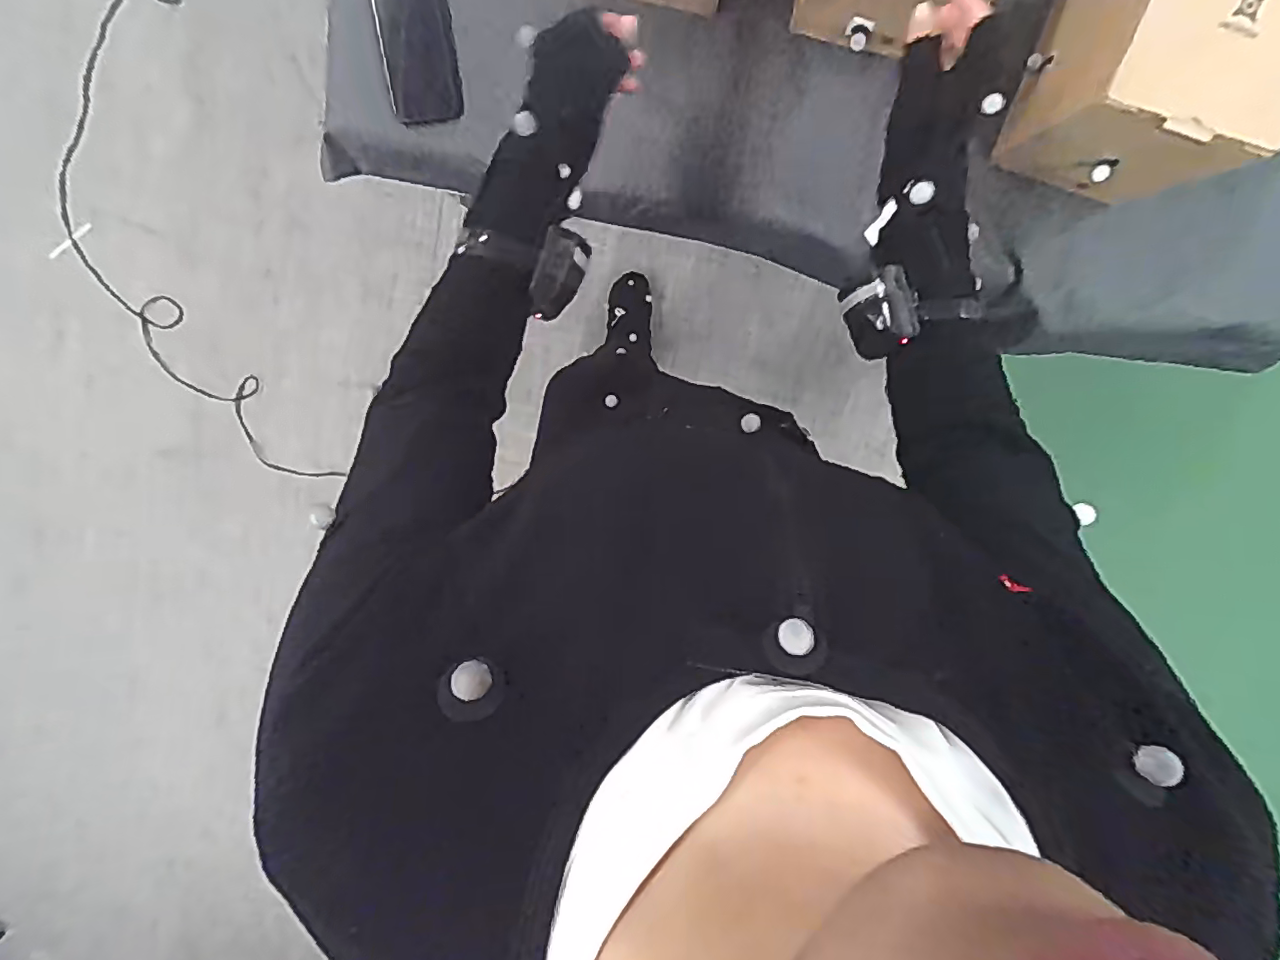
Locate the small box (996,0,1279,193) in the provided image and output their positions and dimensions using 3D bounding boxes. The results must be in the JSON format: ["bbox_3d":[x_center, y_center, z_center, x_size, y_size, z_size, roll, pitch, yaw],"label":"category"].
[{"bbox_3d":[0.502,-0.414,0.537,0.168,0.176,0.179,16,104,-4],"label":"small box"}]

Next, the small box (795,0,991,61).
[{"bbox_3d":[0.259,-0.546,0.509,0.168,0.176,0.179,10,105,0],"label":"small box"}]
